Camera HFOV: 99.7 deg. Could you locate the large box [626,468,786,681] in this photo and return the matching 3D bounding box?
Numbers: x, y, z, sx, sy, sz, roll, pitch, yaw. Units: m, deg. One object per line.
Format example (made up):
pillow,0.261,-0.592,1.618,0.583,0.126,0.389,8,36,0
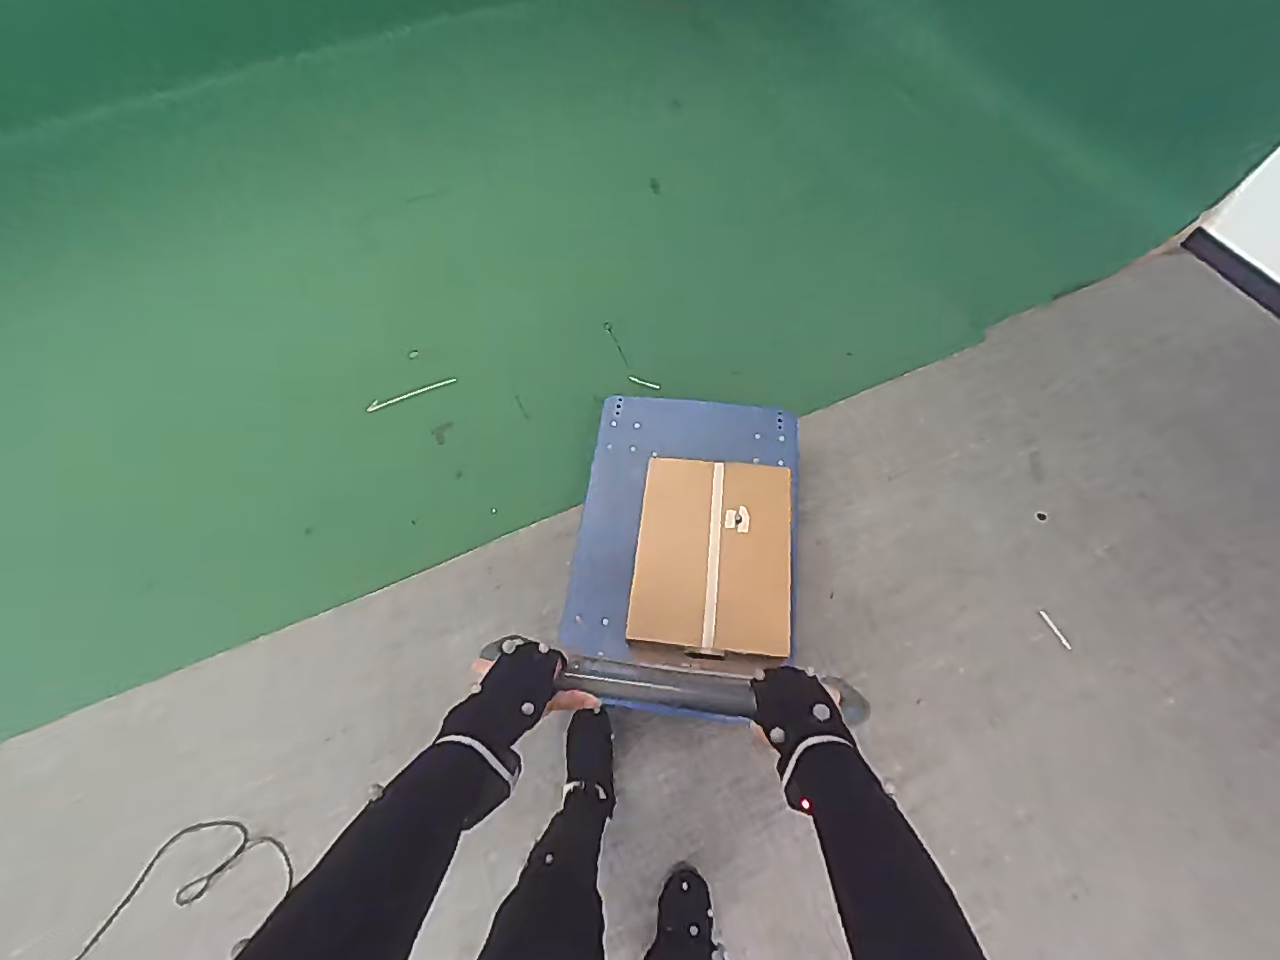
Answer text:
large box,0.155,0.228,1.259,0.320,0.320,0.408,5,63,5
